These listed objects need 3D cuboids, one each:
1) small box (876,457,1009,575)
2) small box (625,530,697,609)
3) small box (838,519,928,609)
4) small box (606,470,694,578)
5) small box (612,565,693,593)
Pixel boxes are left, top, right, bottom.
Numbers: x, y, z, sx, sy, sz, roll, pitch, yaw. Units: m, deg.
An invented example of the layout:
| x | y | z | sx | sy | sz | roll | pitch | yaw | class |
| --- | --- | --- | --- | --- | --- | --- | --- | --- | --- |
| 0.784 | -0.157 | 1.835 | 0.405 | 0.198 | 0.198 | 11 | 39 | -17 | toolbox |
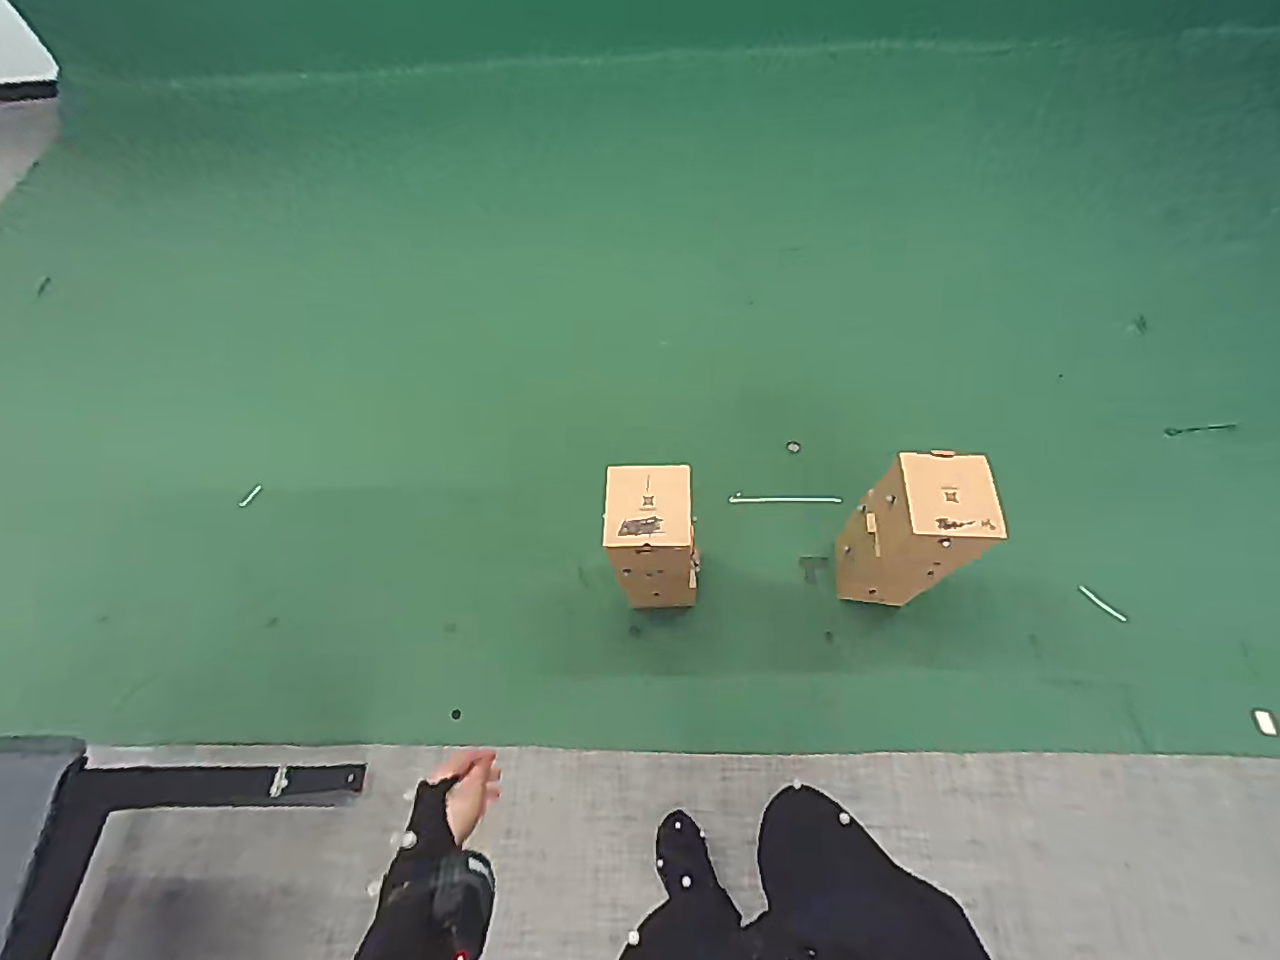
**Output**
| x | y | z | sx | sy | sz | roll | pitch | yaw | class |
| --- | --- | --- | --- | --- | --- | --- | --- | --- | --- |
| 0.588 | 0.075 | 1.080 | 0.168 | 0.176 | 0.179 | 3 | 61 | 4 | small box |
| 0.056 | 0.234 | 1.394 | 0.179 | 0.176 | 0.168 | -1 | 63 | 3 | small box |
| 0.609 | 0.219 | 1.375 | 0.168 | 0.176 | 0.179 | 6 | 63 | 6 | small box |
| 0.027 | 0.094 | 1.100 | 0.168 | 0.176 | 0.179 | 0 | 62 | 4 | small box |
| 0.036 | 0.160 | 1.251 | 0.179 | 0.176 | 0.168 | 1 | 63 | 3 | small box |
